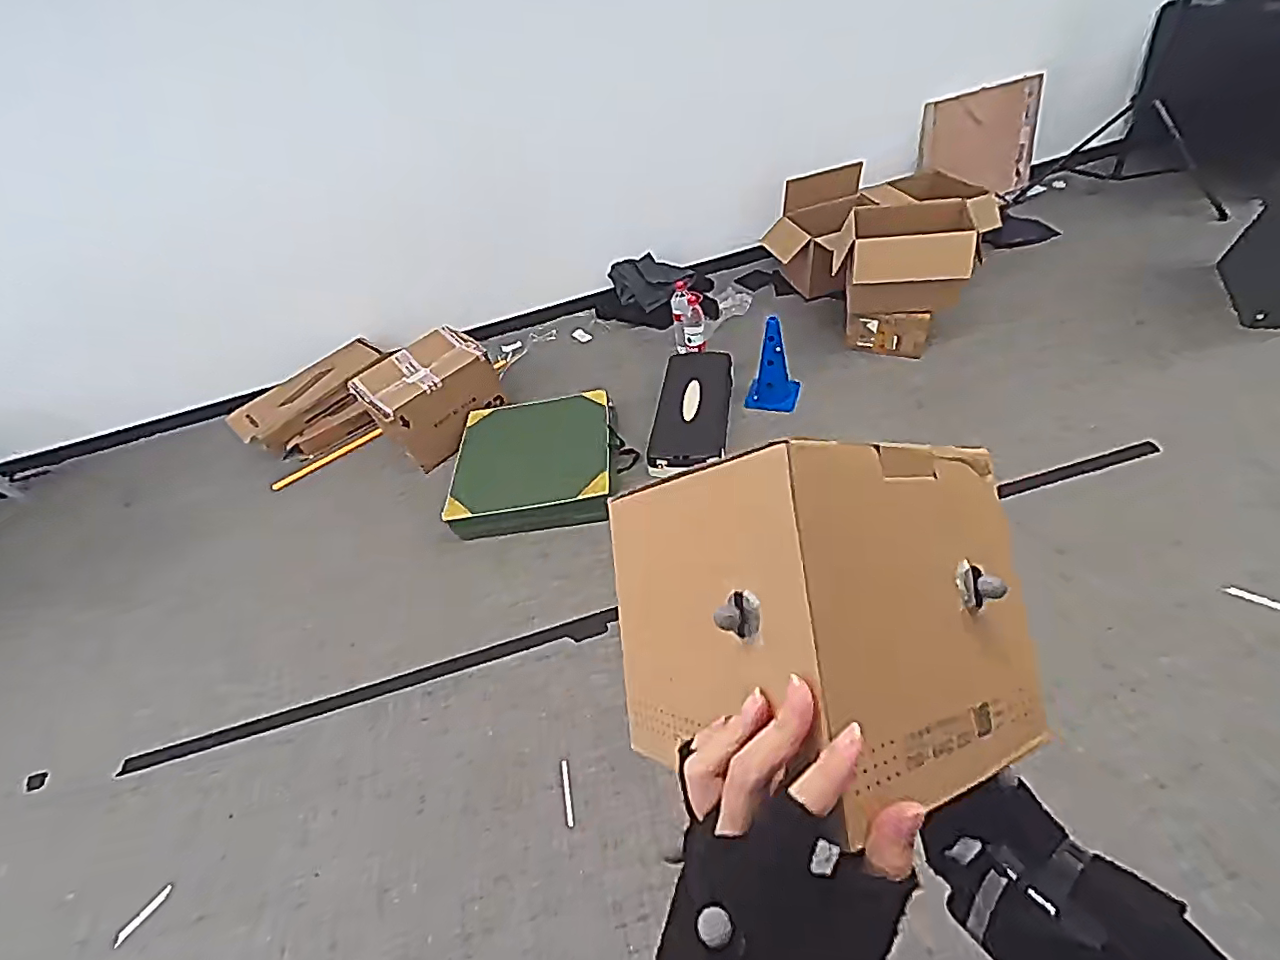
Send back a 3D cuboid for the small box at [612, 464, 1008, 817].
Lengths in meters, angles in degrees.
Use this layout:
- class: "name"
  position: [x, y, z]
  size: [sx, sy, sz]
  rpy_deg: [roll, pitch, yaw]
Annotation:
- class: "small box"
  position: [0.099, 0.089, 0.352]
  size: [0.168, 0.179, 0.176]
  rpy_deg: [0, 79, -31]
